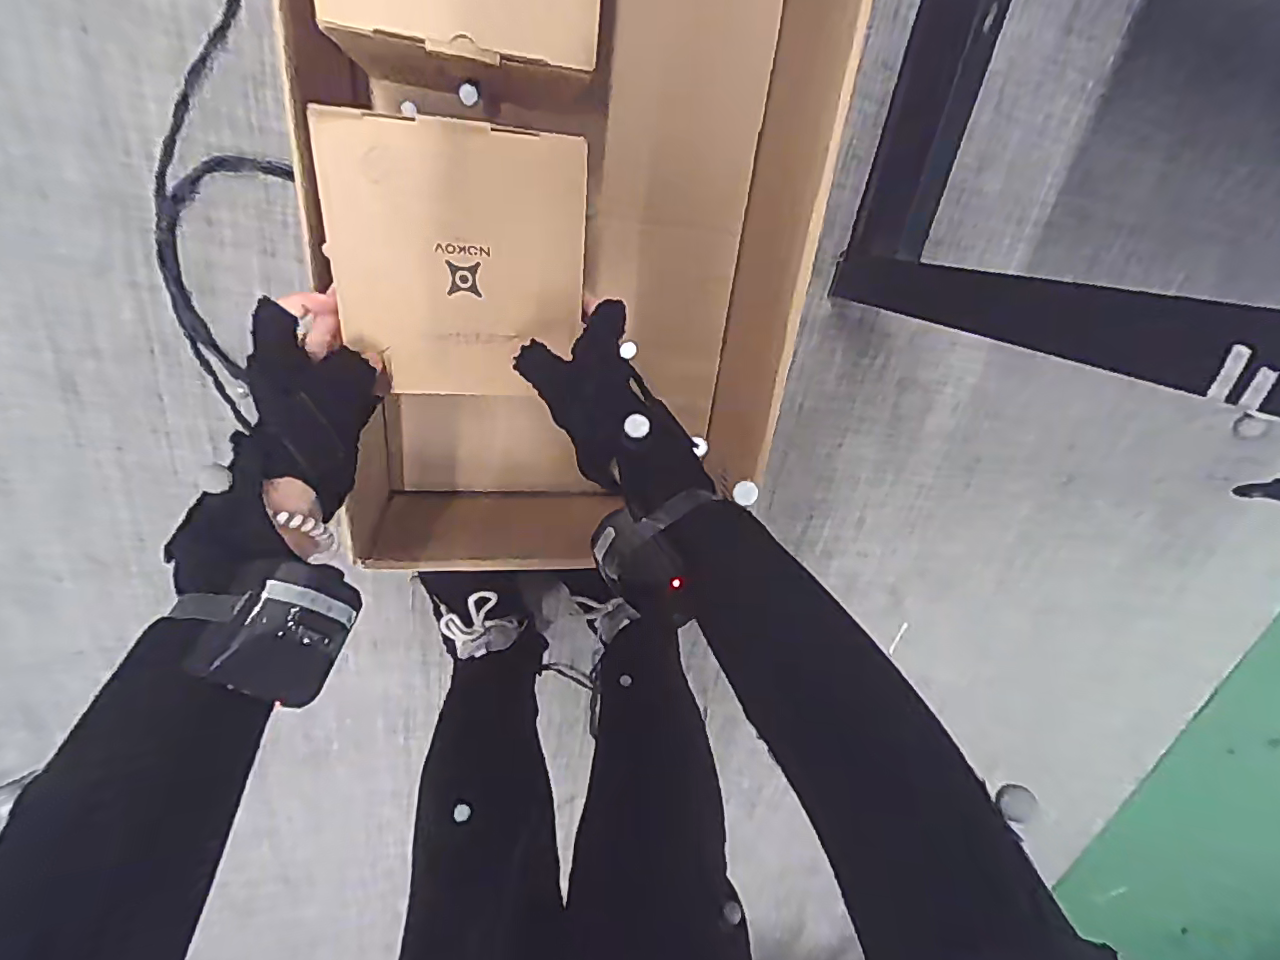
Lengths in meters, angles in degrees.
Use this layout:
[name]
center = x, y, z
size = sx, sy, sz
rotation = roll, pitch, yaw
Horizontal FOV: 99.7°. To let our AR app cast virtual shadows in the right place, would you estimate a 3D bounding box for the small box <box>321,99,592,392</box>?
[small box]
center = -0.134, -0.179, 0.441
size = 0.168, 0.176, 0.179
rotation = -1, 115, -12
